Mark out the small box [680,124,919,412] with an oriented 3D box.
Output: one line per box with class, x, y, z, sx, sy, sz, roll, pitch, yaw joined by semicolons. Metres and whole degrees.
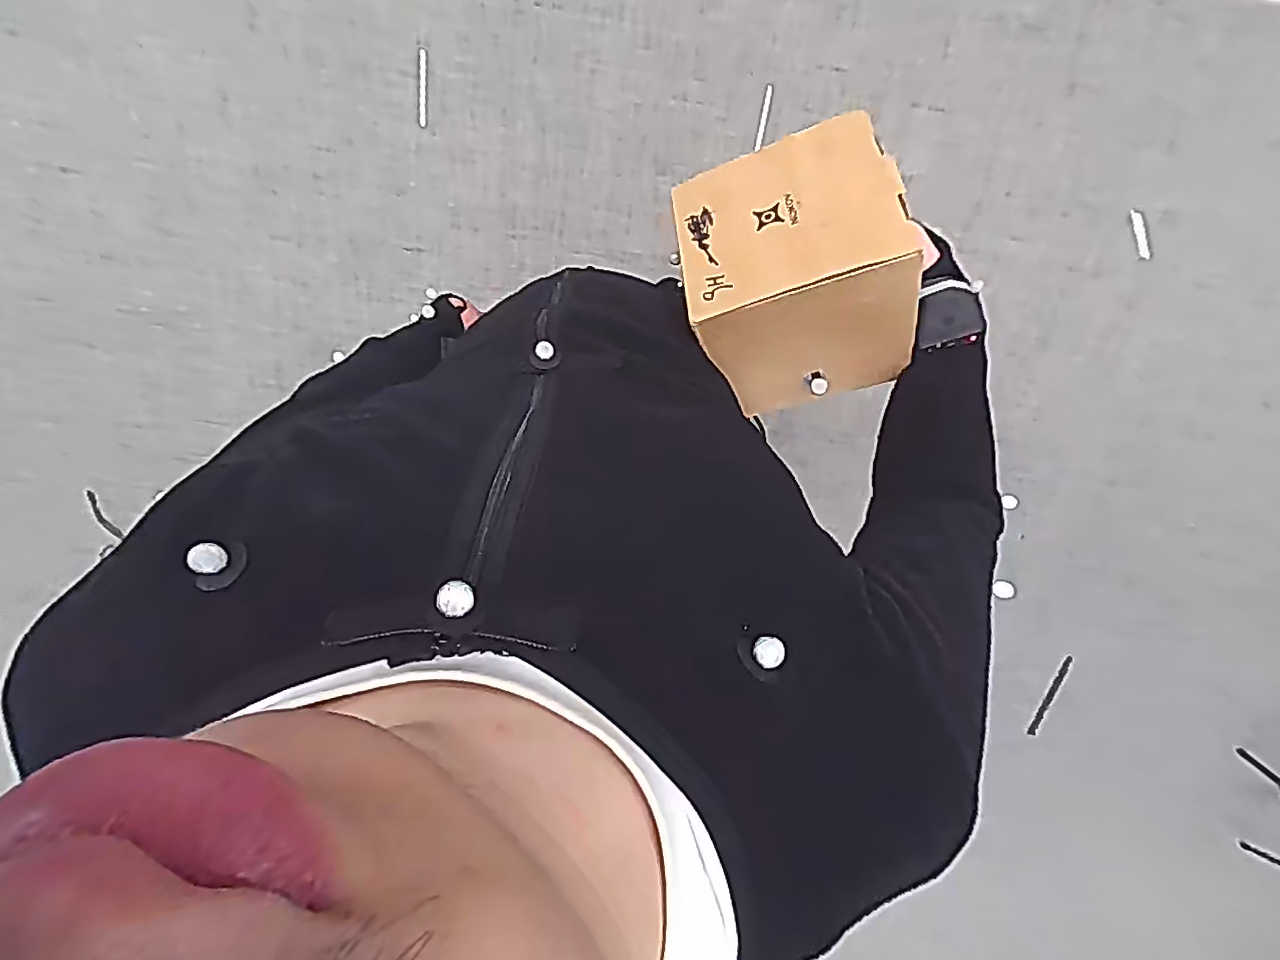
small box;0.152;-0.191;0.532;0.179;0.168;0.176;-13;153;17
